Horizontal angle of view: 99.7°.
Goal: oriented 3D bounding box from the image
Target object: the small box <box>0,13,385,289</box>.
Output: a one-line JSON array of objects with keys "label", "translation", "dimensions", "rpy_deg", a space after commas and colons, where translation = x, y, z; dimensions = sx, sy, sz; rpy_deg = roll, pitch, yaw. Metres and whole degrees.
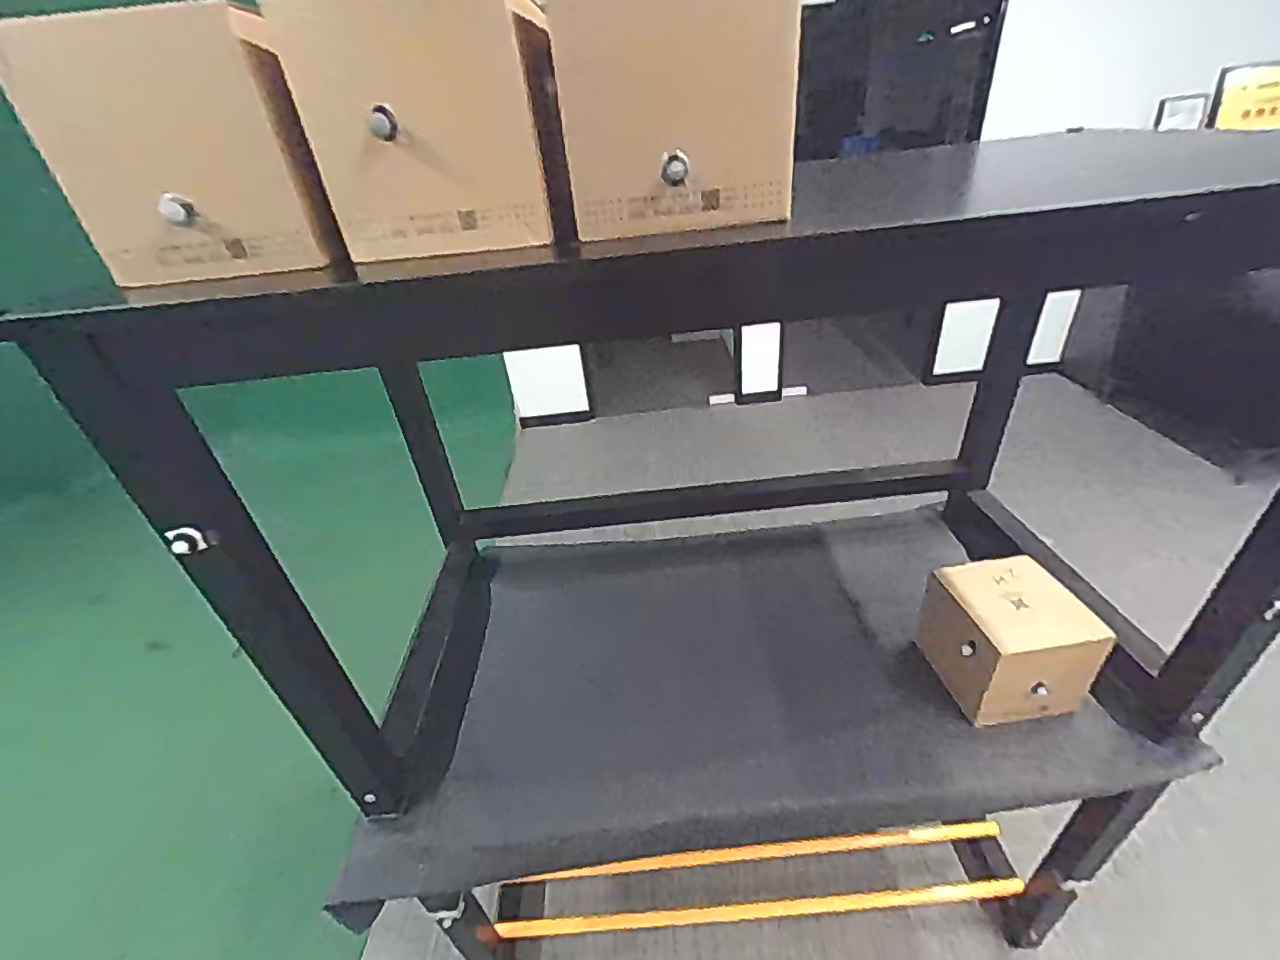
[{"label": "small box", "translation": [-0.344, -0.272, 0.464], "dimensions": [0.168, 0.176, 0.179], "rpy_deg": [-6, 34, 0]}]

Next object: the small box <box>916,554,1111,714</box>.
[{"label": "small box", "translation": [0.567, 0.245, 0.850], "dimensions": [0.168, 0.176, 0.179], "rpy_deg": [-8, 32, -2]}]
